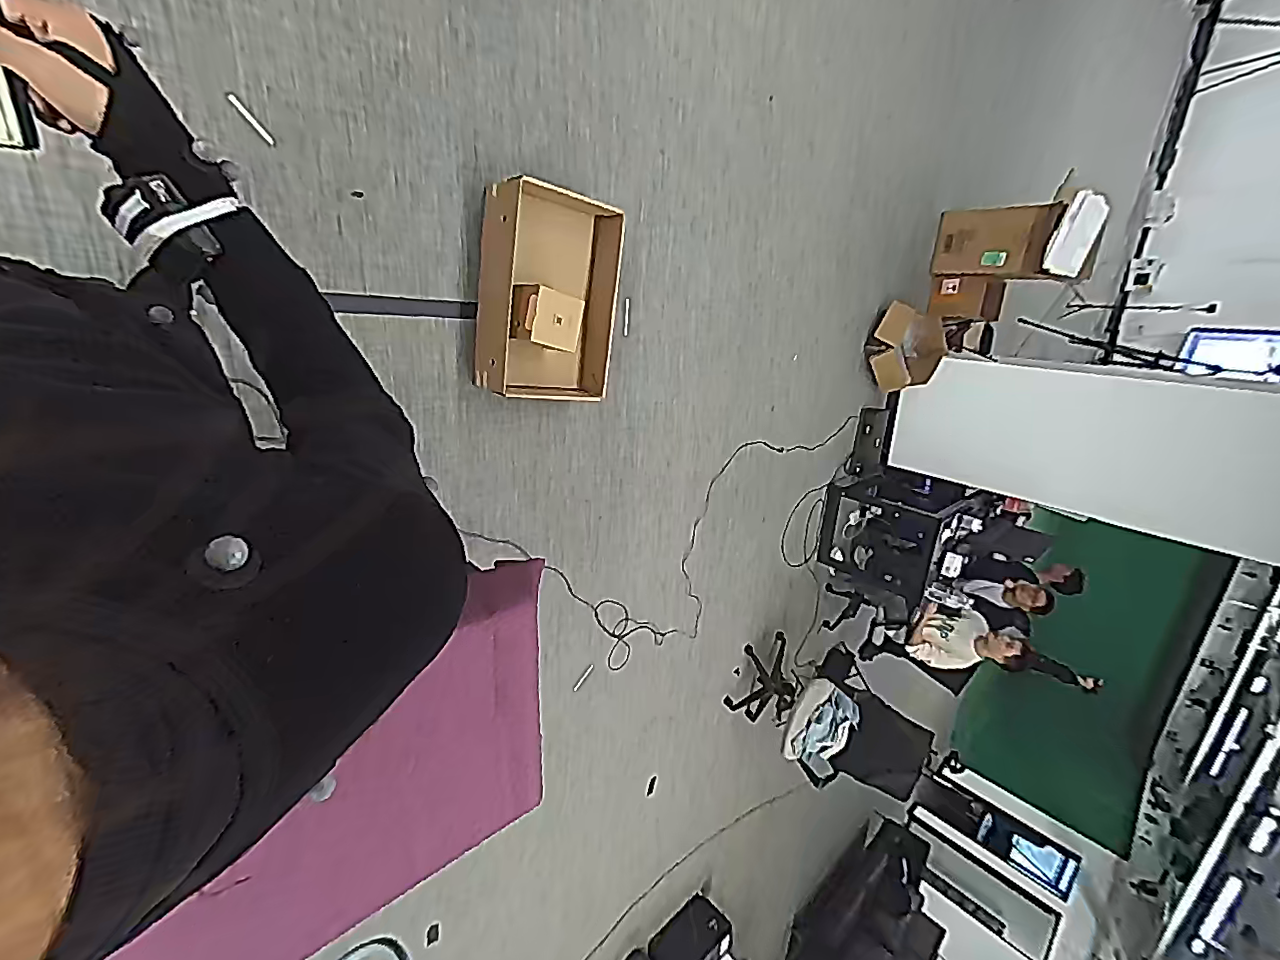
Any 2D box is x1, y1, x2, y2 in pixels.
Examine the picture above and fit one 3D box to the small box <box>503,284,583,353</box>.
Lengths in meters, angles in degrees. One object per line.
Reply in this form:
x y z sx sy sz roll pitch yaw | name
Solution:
-0.309 -0.506 1.702 0.179 0.176 0.168 5 102 -45 | small box
